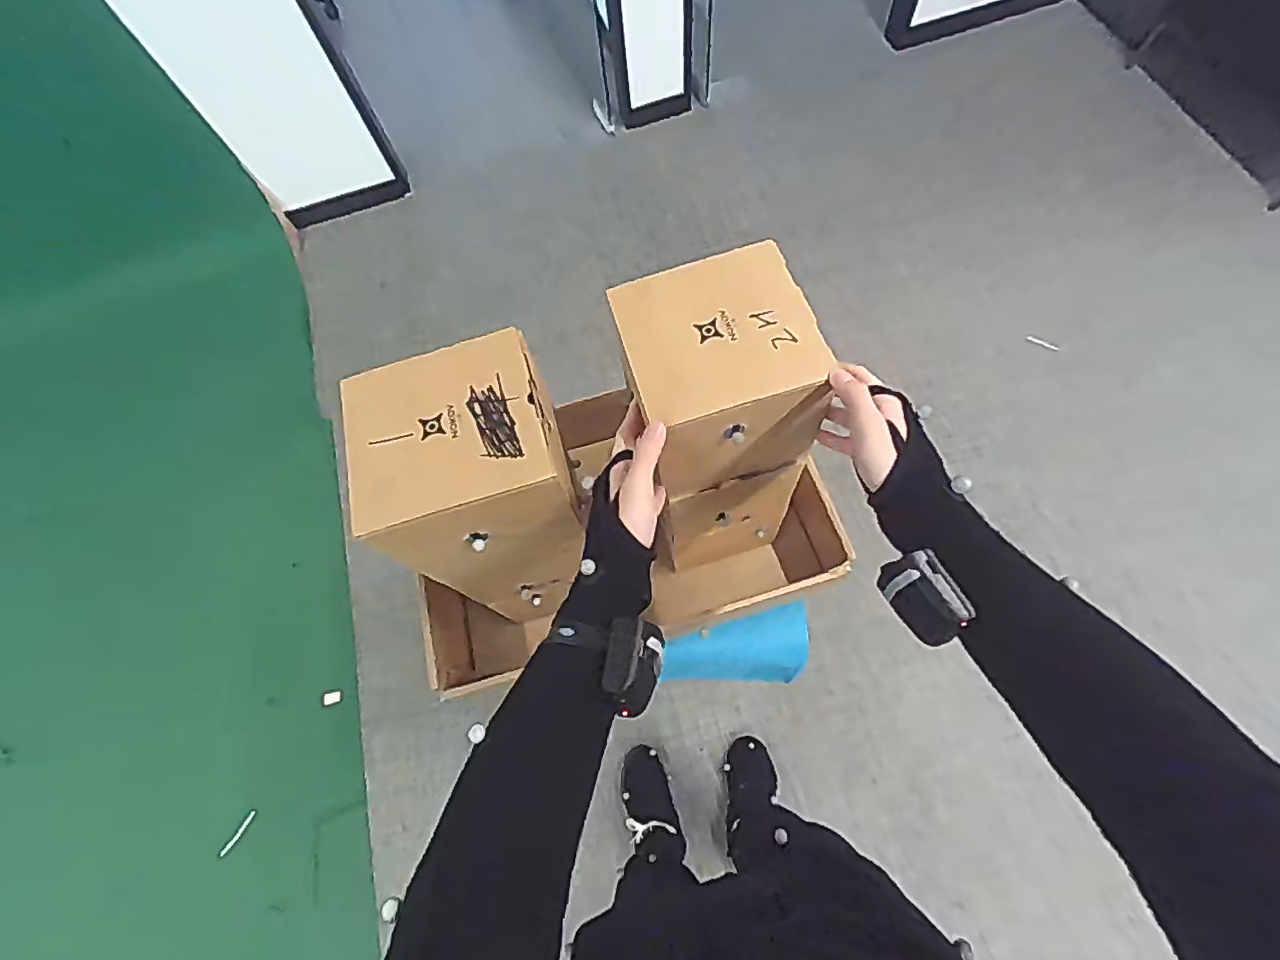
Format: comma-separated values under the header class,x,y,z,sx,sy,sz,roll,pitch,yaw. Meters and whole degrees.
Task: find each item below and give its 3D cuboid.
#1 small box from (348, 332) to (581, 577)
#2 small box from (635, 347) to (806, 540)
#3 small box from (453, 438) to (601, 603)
class,x,y,z,sx,sy,sz,roll,pitch,yaw
small box,-0.165,-0.016,0.554,0.179,0.176,0.168,-17,65,-1
small box,0.098,-0.041,0.719,0.168,0.176,0.179,-16,66,-1
small box,-0.156,0.044,0.706,0.168,0.176,0.179,-16,67,-2
